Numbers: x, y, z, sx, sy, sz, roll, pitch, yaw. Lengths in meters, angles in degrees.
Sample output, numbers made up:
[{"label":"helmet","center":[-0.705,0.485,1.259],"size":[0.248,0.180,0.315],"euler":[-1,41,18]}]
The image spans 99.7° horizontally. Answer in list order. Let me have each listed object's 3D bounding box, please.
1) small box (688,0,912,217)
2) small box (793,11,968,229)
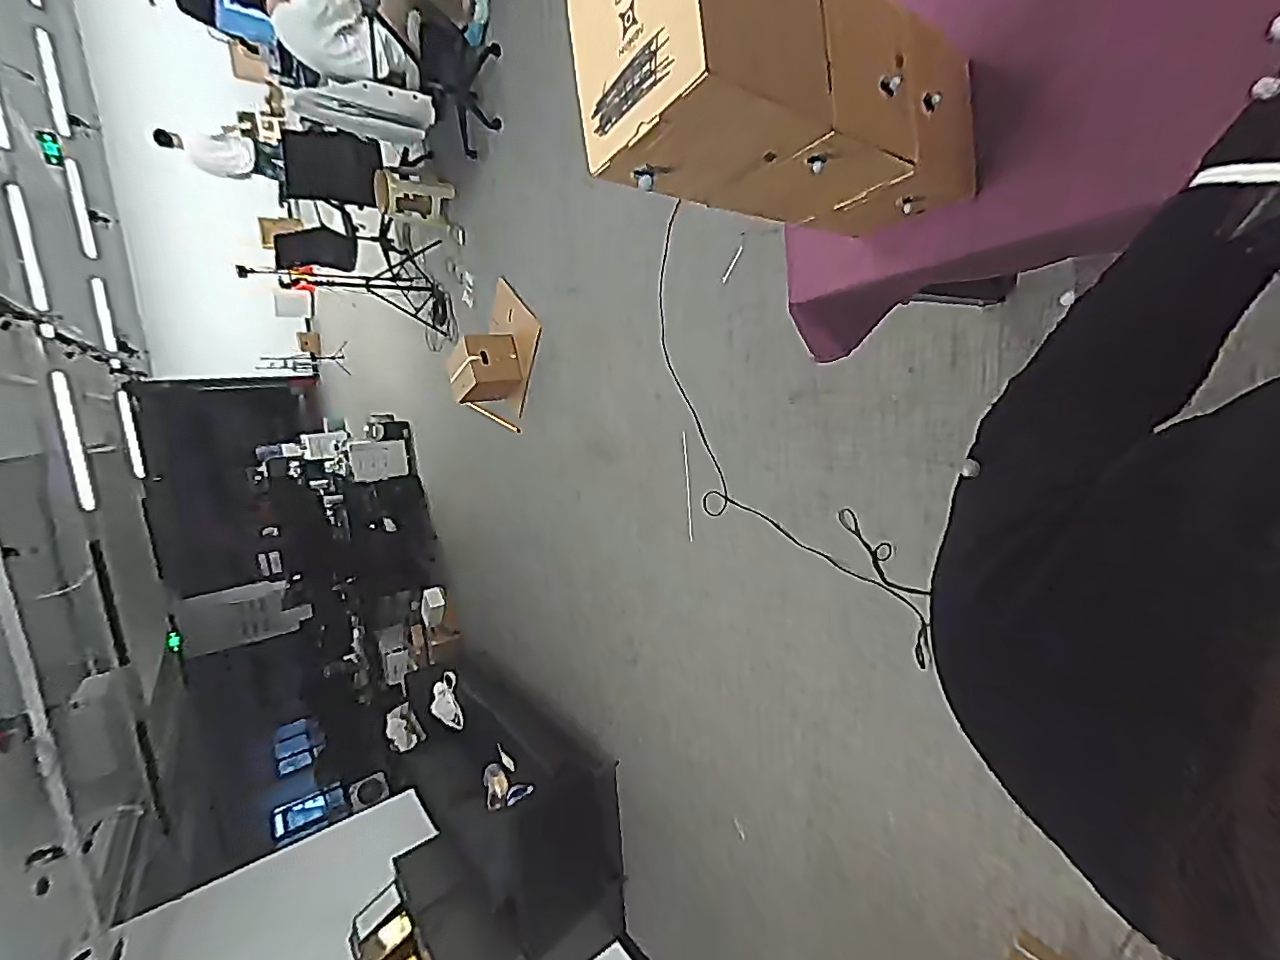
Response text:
[{"label":"small box","center":[0.181,-0.423,0.619],"size":[0.179,0.176,0.168],"euler":[-2,97,51]},{"label":"small box","center":[0.312,-0.447,0.713],"size":[0.168,0.176,0.179],"euler":[1,99,52]}]
